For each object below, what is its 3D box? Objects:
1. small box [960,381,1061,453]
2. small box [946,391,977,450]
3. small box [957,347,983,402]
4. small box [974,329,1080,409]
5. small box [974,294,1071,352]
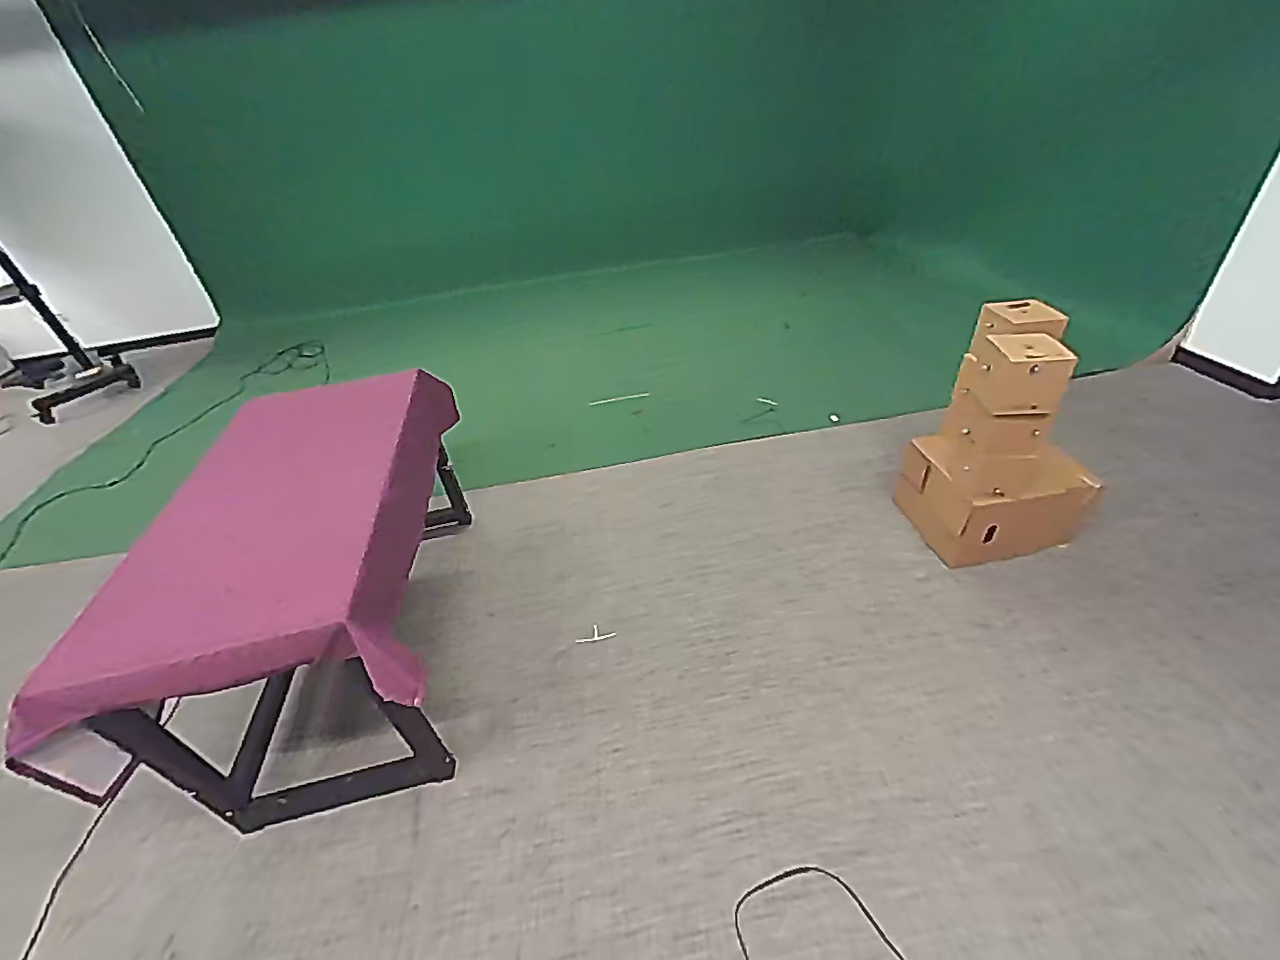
[{"bbox_3d":[1.119,-0.197,1.650,0.179,0.176,0.168,-4,38,3],"label":"small box"},{"bbox_3d":[1.233,-0.217,1.929,0.168,0.176,0.179,-9,37,-5],"label":"small box"},{"bbox_3d":[1.218,-0.348,1.832,0.179,0.176,0.168,-9,38,-3],"label":"small box"},{"bbox_3d":[1.088,-0.317,1.540,0.168,0.176,0.179,-1,37,7],"label":"small box"},{"bbox_3d":[1.213,-0.479,1.732,0.168,0.176,0.179,-6,38,1],"label":"small box"}]
